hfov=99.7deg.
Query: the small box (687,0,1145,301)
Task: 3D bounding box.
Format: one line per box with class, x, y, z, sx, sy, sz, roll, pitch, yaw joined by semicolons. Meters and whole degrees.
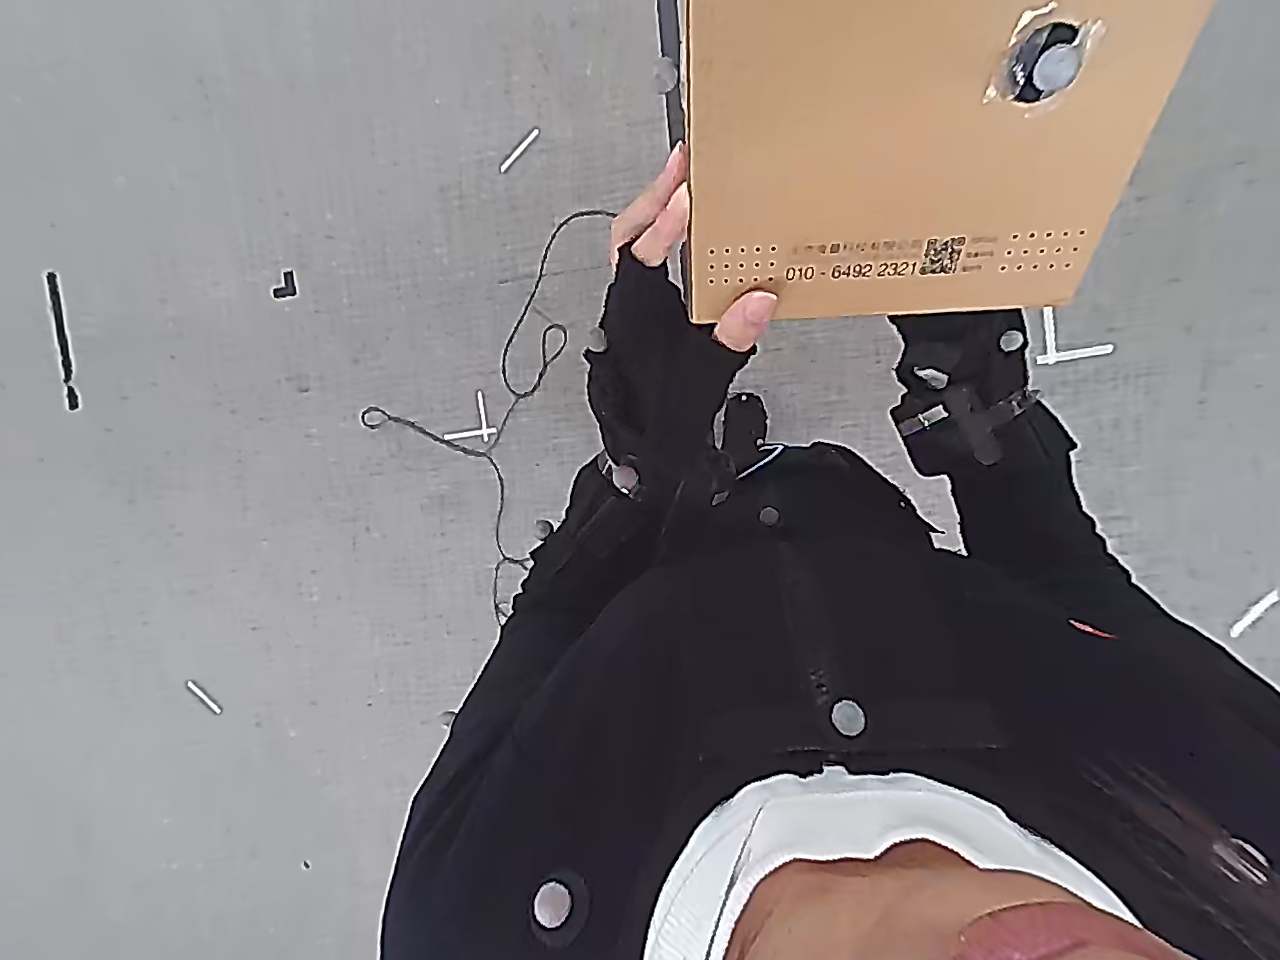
small box;0.107;-0.200;0.270;0.168;0.179;0.176;-1;132;4
